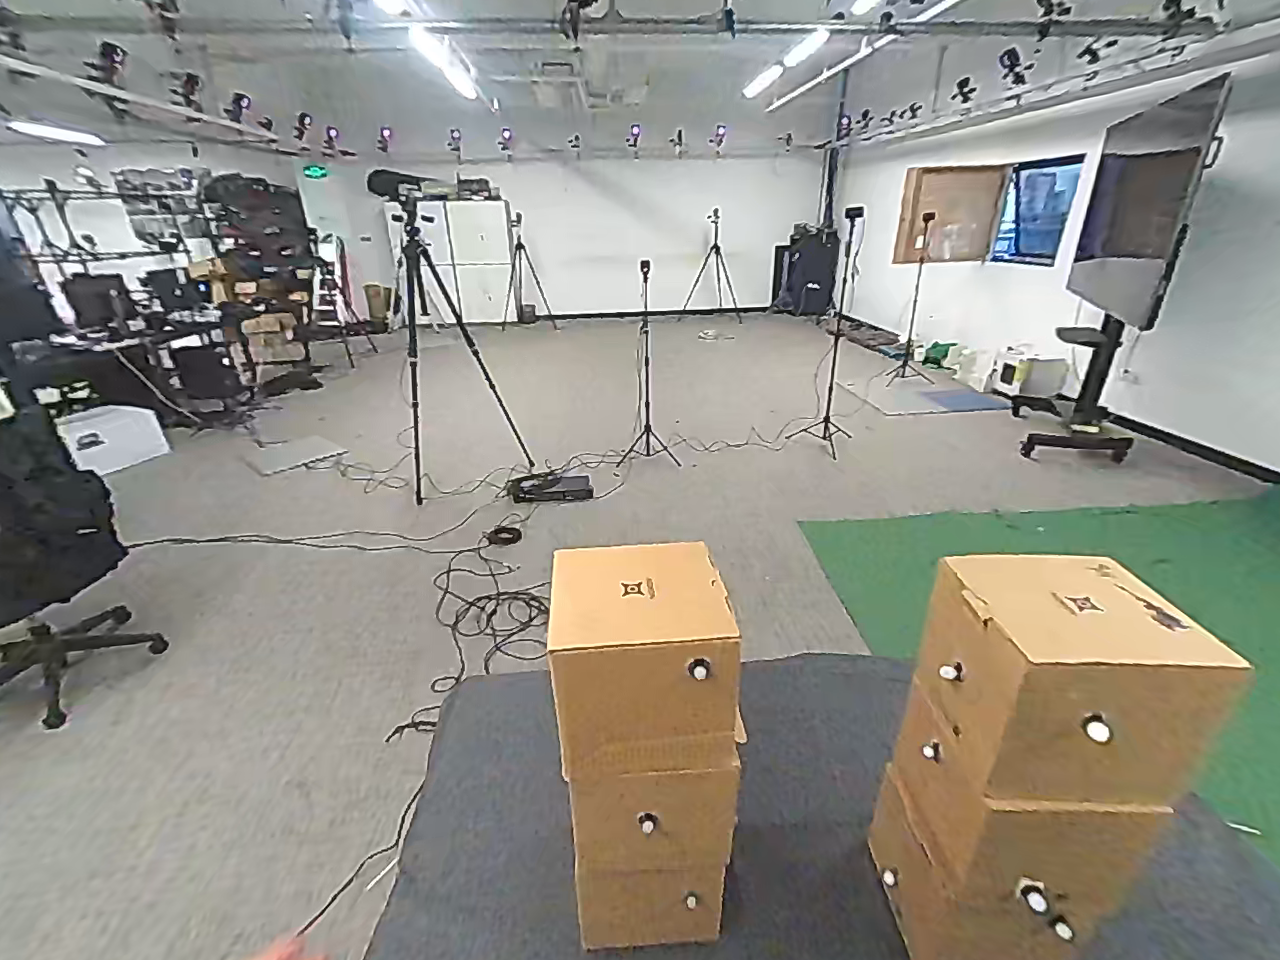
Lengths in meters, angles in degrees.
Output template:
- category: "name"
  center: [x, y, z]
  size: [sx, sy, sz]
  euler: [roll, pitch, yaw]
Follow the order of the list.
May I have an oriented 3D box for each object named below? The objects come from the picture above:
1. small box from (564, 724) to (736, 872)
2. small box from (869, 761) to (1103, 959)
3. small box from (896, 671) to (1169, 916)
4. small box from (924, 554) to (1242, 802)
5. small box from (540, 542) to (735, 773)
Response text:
- category: "small box"
  center: [0.007, 0.331, 0.645]
  size: [0.179, 0.176, 0.168]
  euler: [-3, 25, -3]
- category: "small box"
  center: [0.413, 0.484, 0.679]
  size: [0.179, 0.176, 0.168]
  euler: [-1, 24, 1]
- category: "small box"
  center: [0.408, 0.339, 0.605]
  size: [0.168, 0.176, 0.179]
  euler: [-2, 26, 4]
- category: "small box"
  center: [0.404, 0.190, 0.538]
  size: [0.179, 0.176, 0.168]
  euler: [-1, 25, 5]
- category: "small box"
  center: [-0.006, 0.184, 0.576]
  size: [0.179, 0.176, 0.168]
  euler: [-3, 25, -5]
